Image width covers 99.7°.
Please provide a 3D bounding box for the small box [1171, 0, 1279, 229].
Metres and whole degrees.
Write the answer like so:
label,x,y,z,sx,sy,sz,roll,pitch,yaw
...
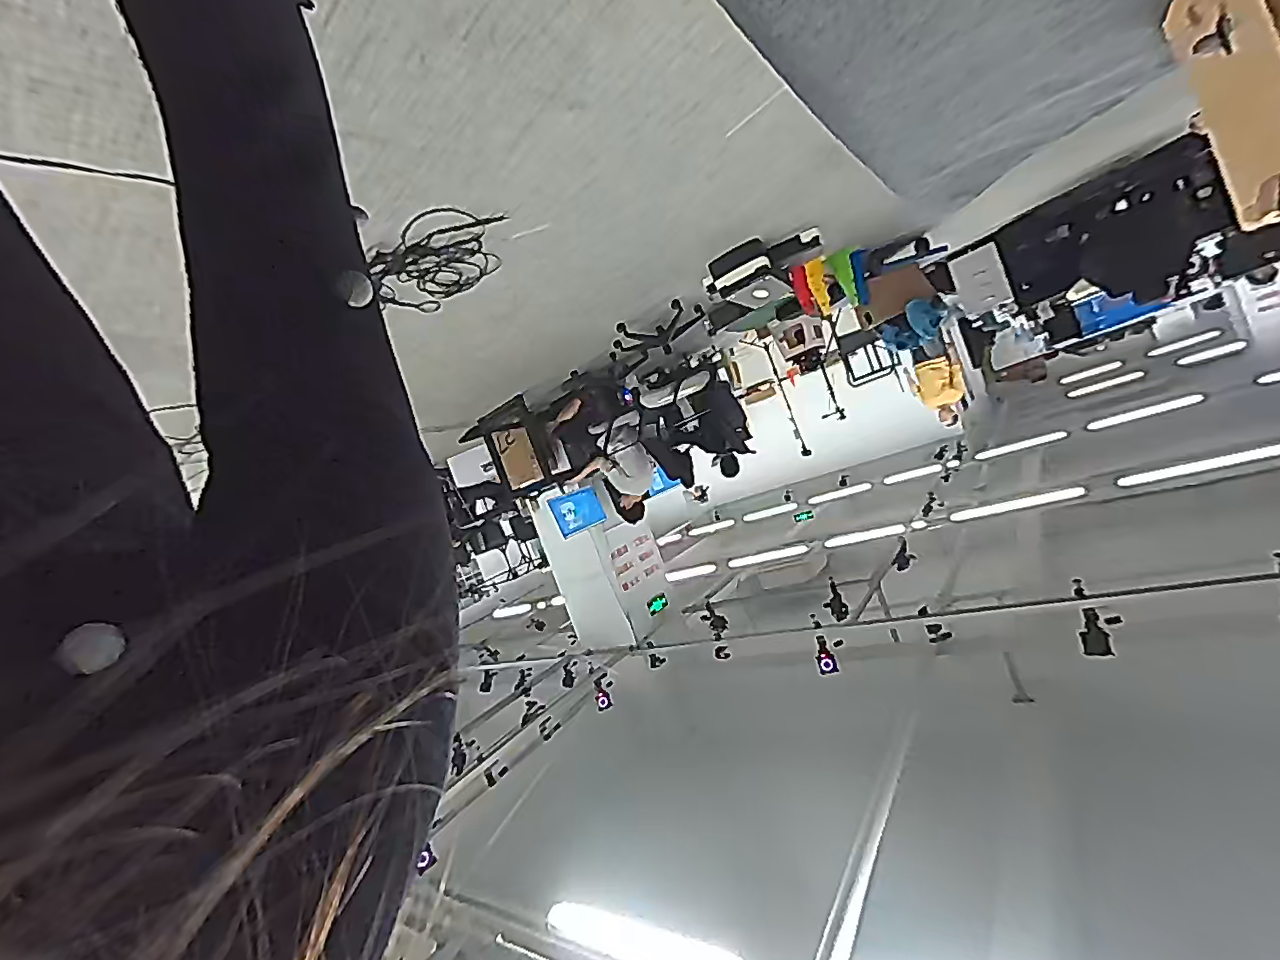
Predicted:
label,x,y,z,sx,sy,sz,roll,pitch,yaw
small box,0.424,-0.260,0.274,0.179,0.176,0.168,-18,-178,40
